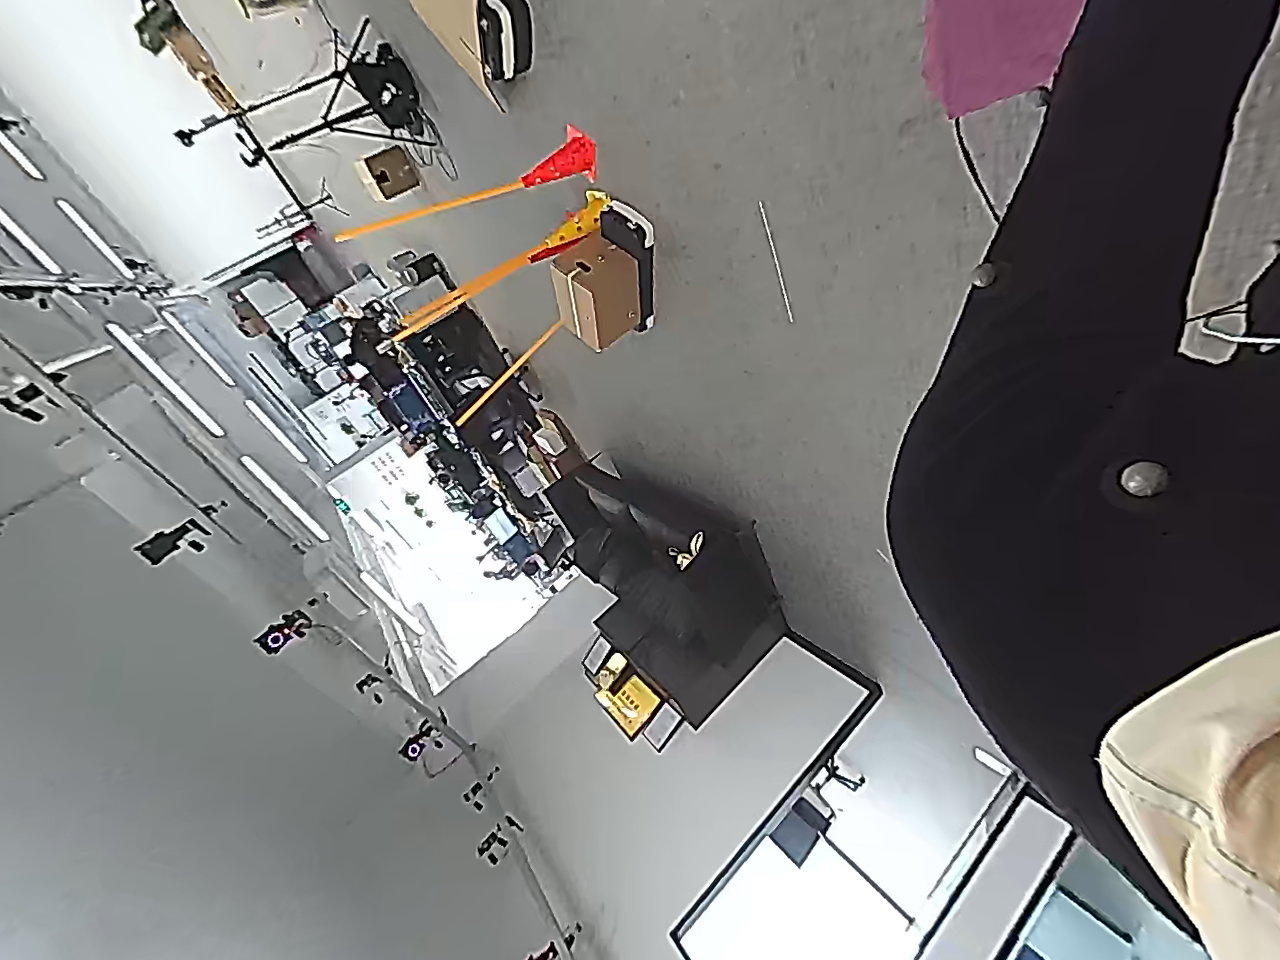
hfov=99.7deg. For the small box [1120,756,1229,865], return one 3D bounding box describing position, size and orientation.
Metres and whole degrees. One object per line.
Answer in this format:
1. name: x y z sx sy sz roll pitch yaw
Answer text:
1. small box: 1.524 0.938 1.543 0.168 0.176 0.179 29 151 50
